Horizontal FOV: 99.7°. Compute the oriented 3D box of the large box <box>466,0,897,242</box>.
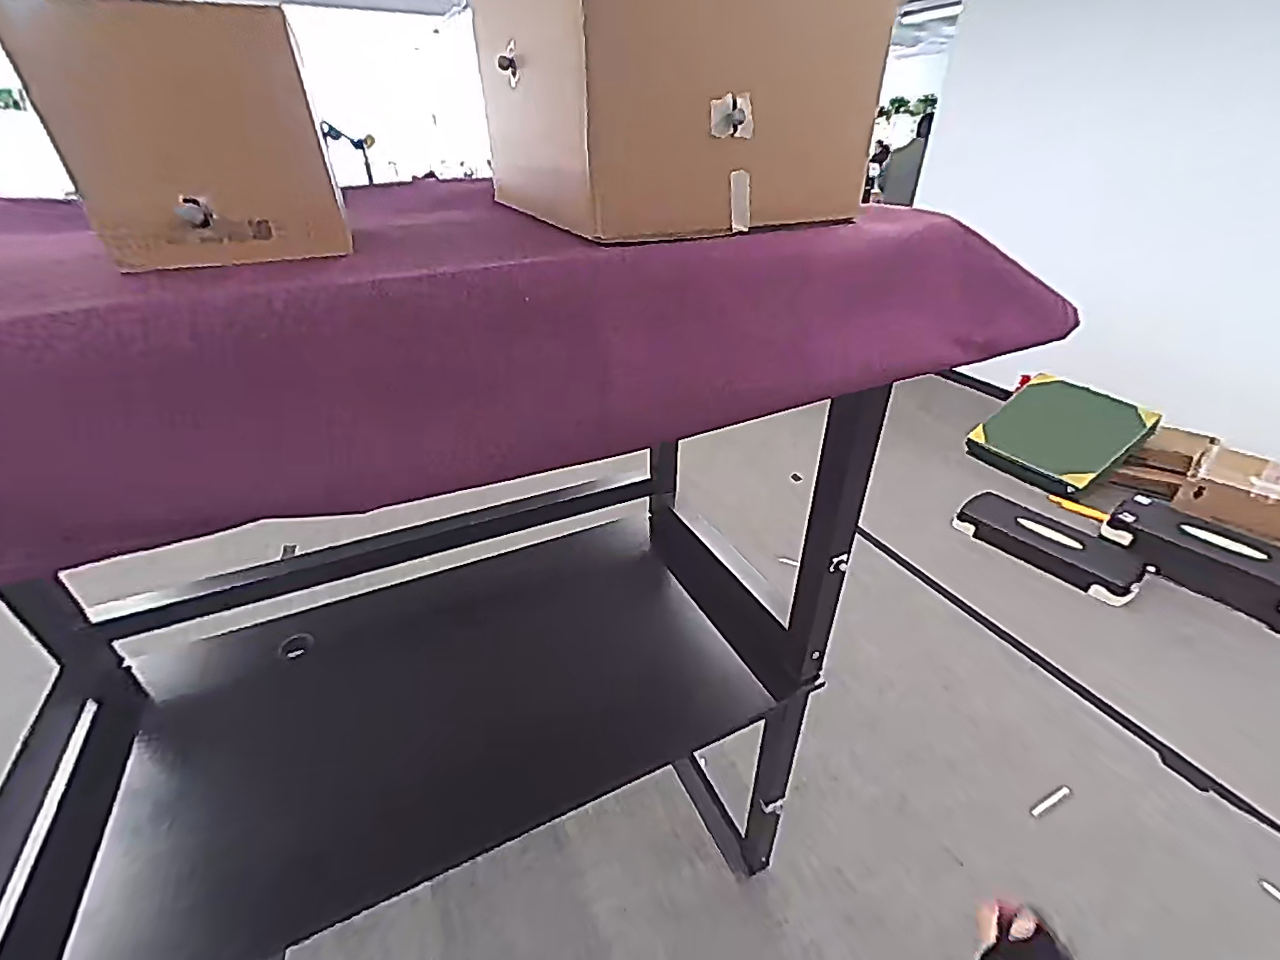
[{"bbox_3d":[0.013,-0.461,0.596,0.320,0.320,0.408,-14,34,-21],"label":"large box"}]

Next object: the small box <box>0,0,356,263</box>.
[{"bbox_3d":[-0.354,-0.287,0.458,0.168,0.176,0.179,-15,35,-20],"label":"small box"}]
